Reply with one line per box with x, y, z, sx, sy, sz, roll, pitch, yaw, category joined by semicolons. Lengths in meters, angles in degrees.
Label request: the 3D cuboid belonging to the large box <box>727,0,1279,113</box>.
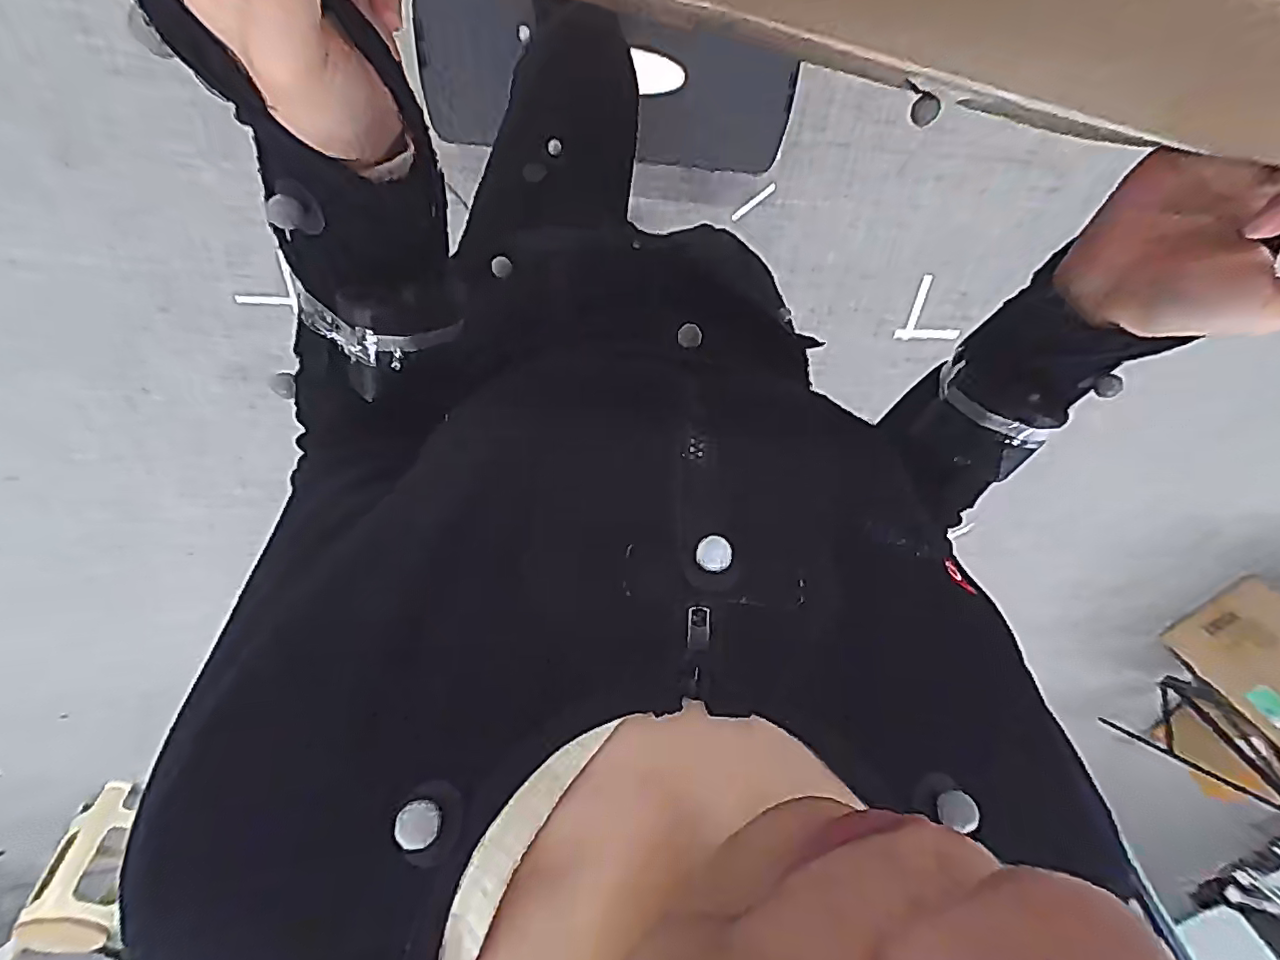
0.102;-0.295;0.096;0.408;0.320;0.320;6;128;-9;large box
